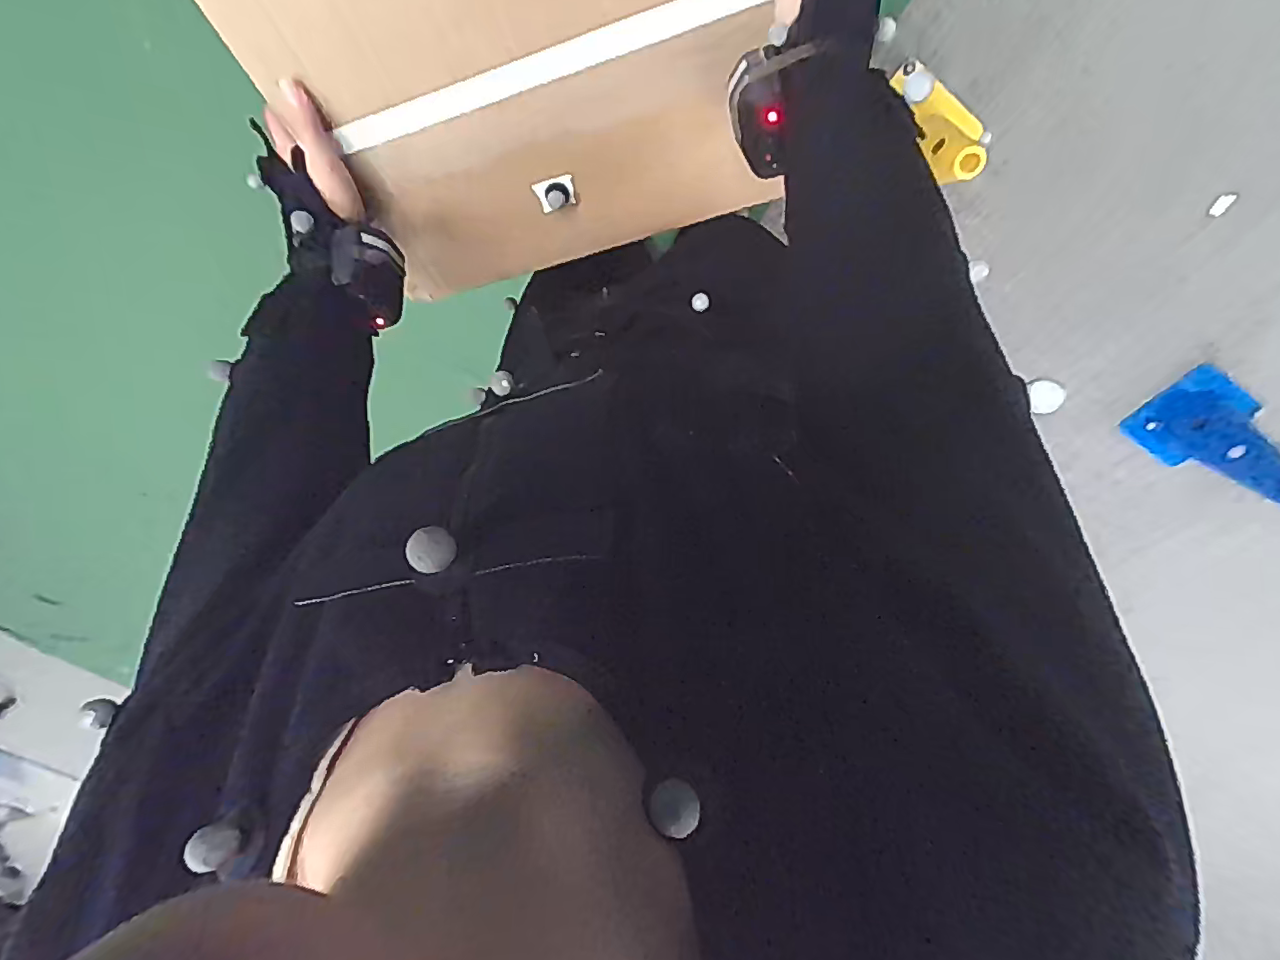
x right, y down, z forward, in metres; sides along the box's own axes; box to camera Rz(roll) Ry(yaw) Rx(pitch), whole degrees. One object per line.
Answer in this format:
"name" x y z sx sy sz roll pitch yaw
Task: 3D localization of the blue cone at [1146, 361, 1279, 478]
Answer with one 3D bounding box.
"blue cone" 1.206 -0.054 1.030 0.193 0.380 0.192 31 123 -10
